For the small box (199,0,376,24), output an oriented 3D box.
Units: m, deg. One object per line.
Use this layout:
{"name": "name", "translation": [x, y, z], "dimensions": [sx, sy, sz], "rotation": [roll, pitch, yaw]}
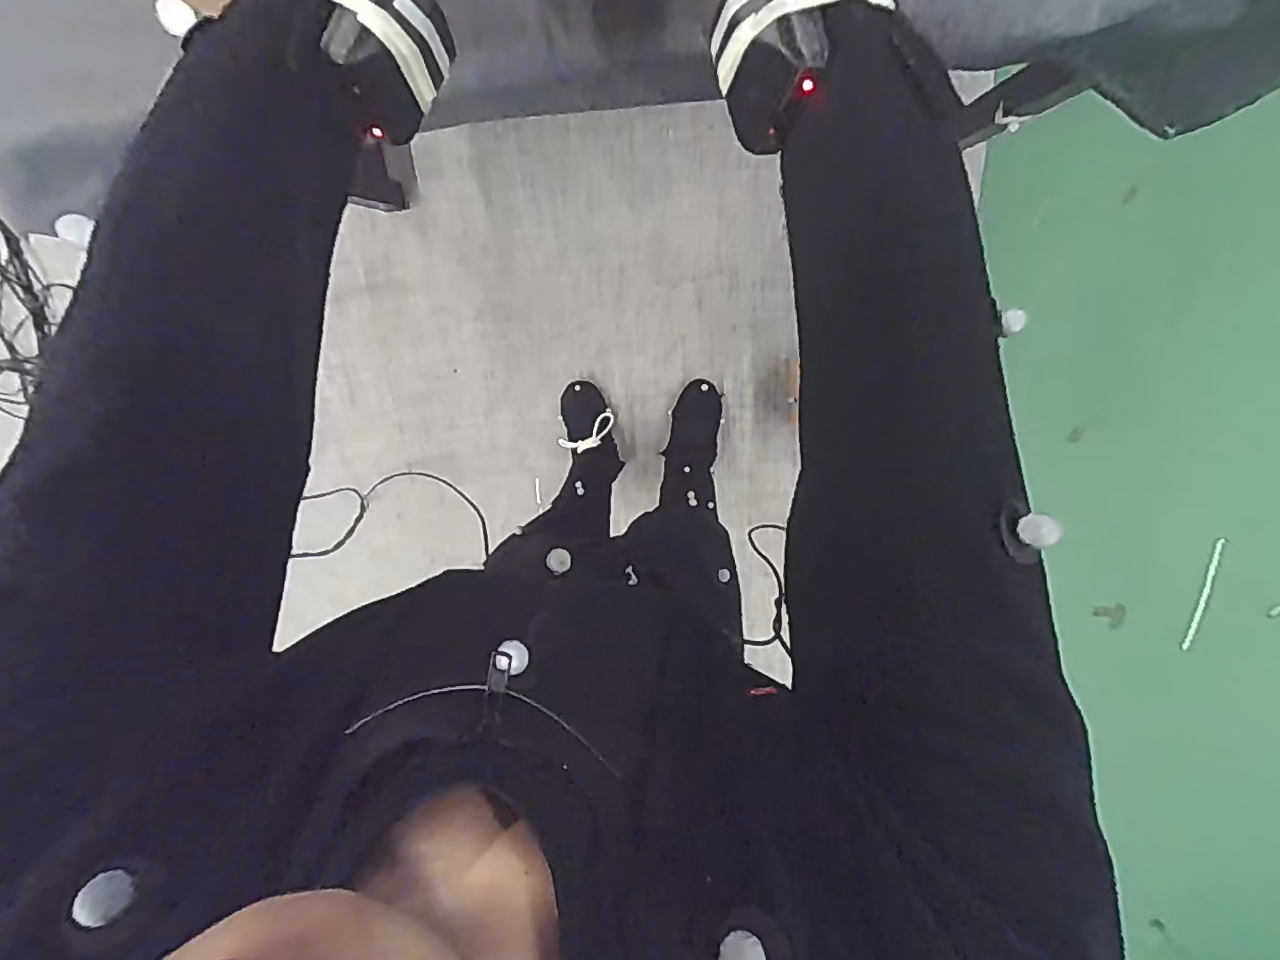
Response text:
{"name": "small box", "translation": [-0.300, -0.453, 0.356], "dimensions": [0.168, 0.176, 0.179], "rotation": [-4, 110, 7]}
